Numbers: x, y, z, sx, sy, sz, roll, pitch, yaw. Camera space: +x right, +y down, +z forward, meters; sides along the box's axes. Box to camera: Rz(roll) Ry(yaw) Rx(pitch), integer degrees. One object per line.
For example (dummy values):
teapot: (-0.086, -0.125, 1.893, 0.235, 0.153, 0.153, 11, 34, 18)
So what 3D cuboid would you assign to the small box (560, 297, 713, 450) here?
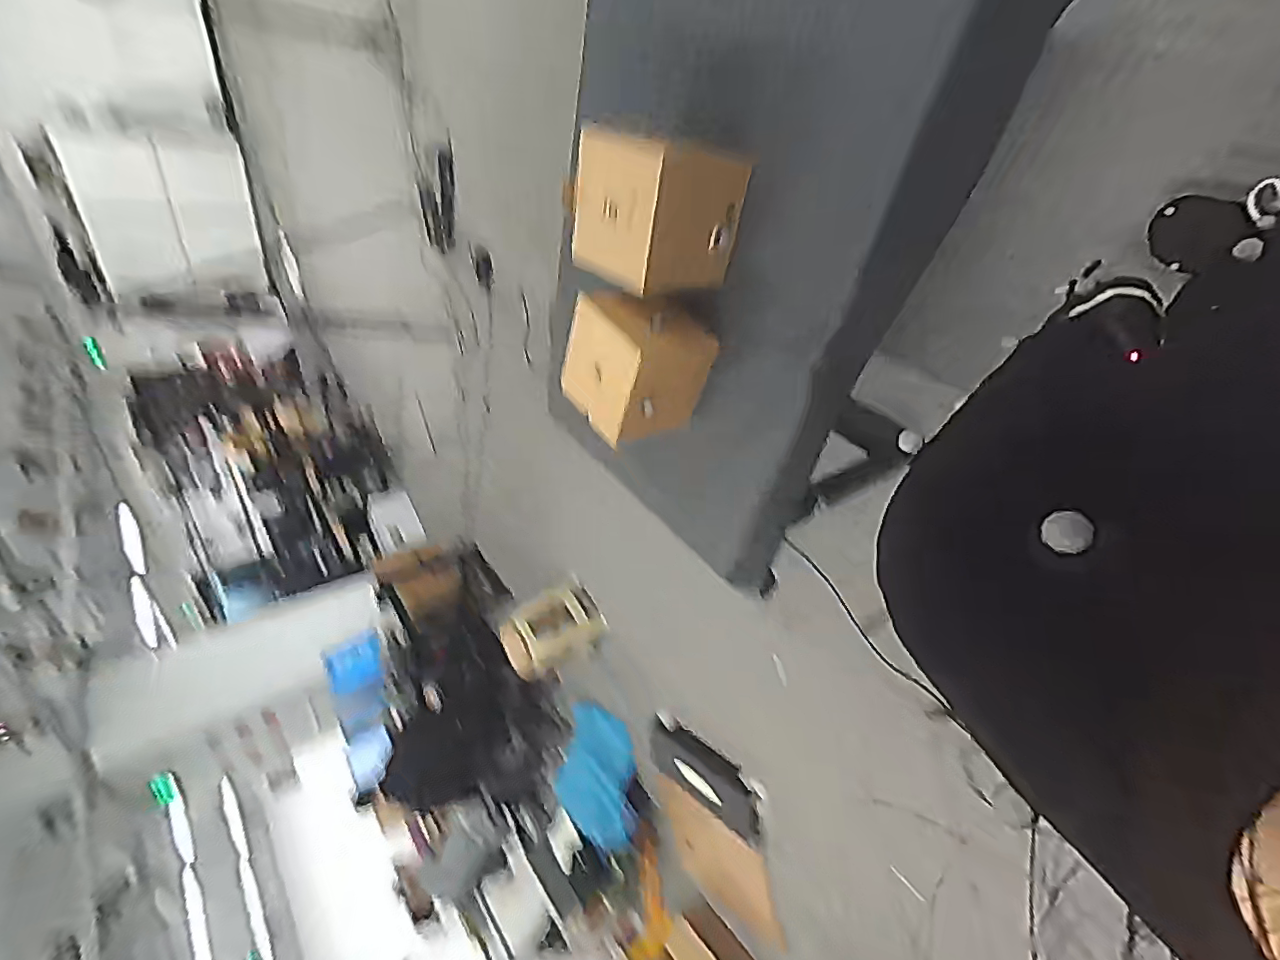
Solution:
small box: (-0.006, -0.182, 0.885, 0.168, 0.176, 0.179, 47, 138, 28)

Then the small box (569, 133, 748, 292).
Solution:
small box: (0.020, -0.377, 0.764, 0.179, 0.176, 0.168, 37, 134, 36)
